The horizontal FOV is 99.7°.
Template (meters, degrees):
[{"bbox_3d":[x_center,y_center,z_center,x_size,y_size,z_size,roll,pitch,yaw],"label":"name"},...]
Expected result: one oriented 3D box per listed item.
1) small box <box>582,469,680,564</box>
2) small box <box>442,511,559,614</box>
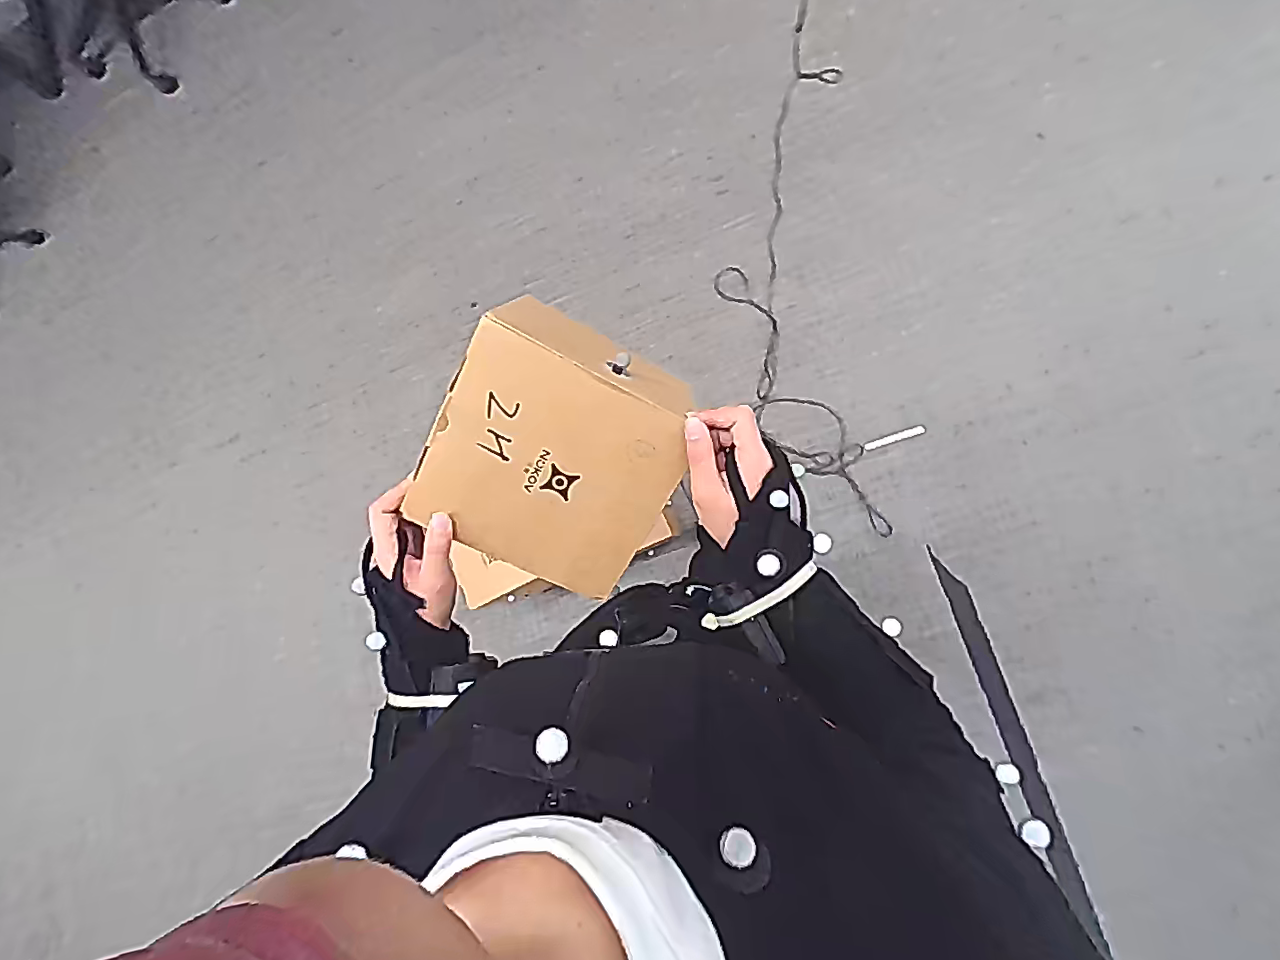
[{"bbox_3d":[-0.016,0.091,1.313,0.168,0.176,0.179,-24,81,10],"label":"small box"},{"bbox_3d":[-0.298,0.178,1.203,0.179,0.176,0.168,-28,79,9],"label":"small box"}]
